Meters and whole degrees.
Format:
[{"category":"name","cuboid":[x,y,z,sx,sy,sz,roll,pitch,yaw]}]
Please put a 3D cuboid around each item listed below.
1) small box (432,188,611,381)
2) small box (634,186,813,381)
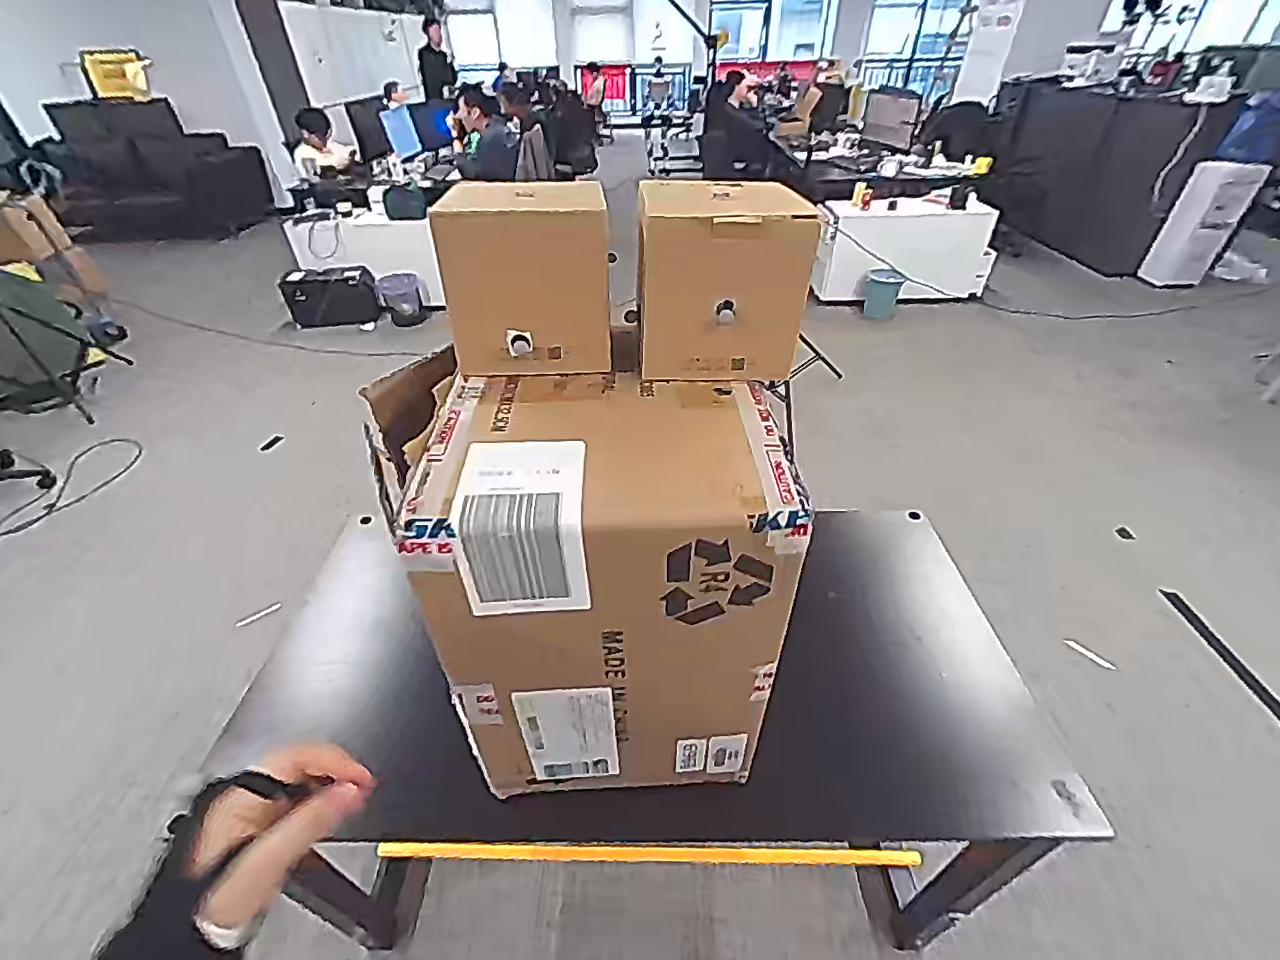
[{"category":"small box","cuboid":[-0.121,-0.226,0.619,0.168,0.176,0.179,-4,37,-5]},{"category":"small box","cuboid":[0.078,-0.223,0.614,0.168,0.176,0.179,0,39,-3]}]
